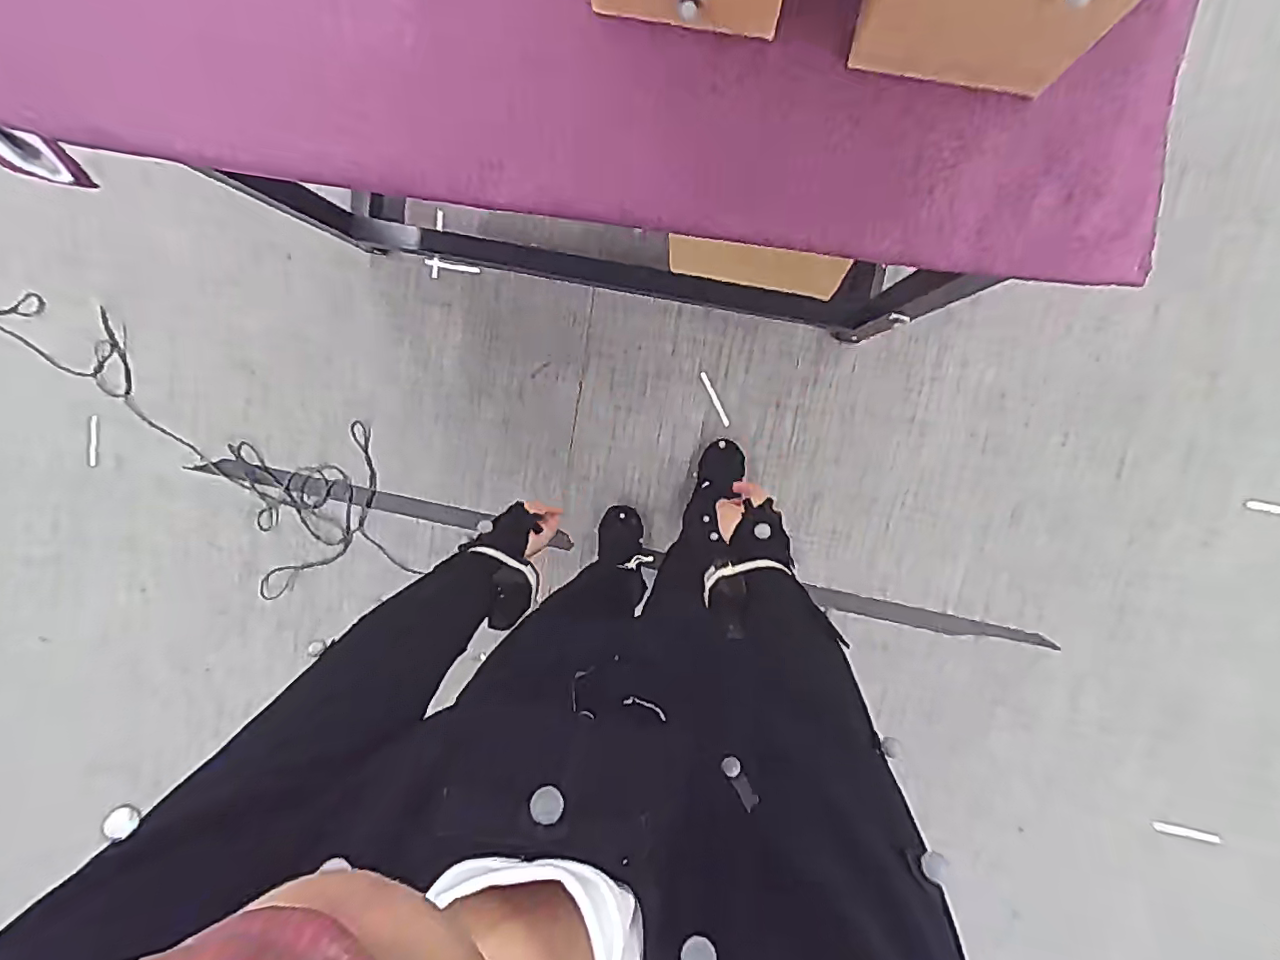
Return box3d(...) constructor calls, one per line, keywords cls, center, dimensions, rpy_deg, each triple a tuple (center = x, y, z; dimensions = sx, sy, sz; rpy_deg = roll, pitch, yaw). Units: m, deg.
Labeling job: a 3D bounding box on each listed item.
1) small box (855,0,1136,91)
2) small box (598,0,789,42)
box3d(cls="small box", center=(0.293, -0.439, 0.412), dimensions=(0.179, 0.176, 0.168), rpy_deg=(12, 96, 3))
box3d(cls="small box", center=(0.055, -0.501, 0.424), dimensions=(0.179, 0.176, 0.168), rpy_deg=(13, 97, 4))
